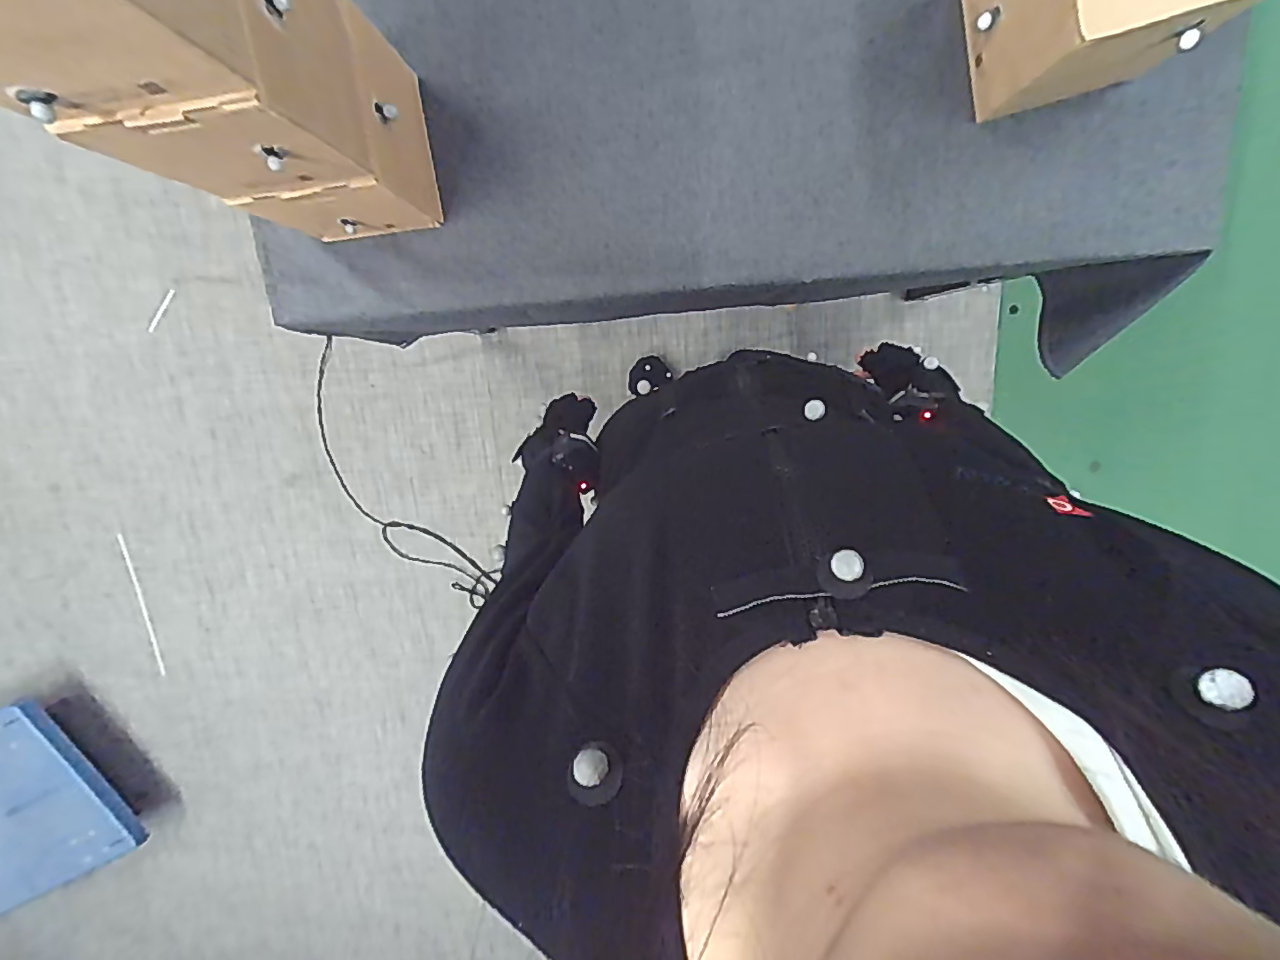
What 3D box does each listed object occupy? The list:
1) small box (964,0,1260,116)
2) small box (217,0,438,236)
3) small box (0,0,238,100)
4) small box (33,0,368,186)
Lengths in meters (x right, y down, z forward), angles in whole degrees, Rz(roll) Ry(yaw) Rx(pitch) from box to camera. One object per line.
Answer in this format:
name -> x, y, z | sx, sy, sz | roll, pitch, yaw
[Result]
small box -> 0.457, -0.502, 0.534 | 0.179, 0.176, 0.168 | -13, 101, 6
small box -> -0.348, -0.391, 0.603 | 0.168, 0.176, 0.179 | -6, 103, 4
small box -> -0.360, -0.331, 0.282 | 0.168, 0.176, 0.179 | -7, 102, 3
small box -> -0.353, -0.360, 0.443 | 0.168, 0.176, 0.179 | -5, 102, 3
